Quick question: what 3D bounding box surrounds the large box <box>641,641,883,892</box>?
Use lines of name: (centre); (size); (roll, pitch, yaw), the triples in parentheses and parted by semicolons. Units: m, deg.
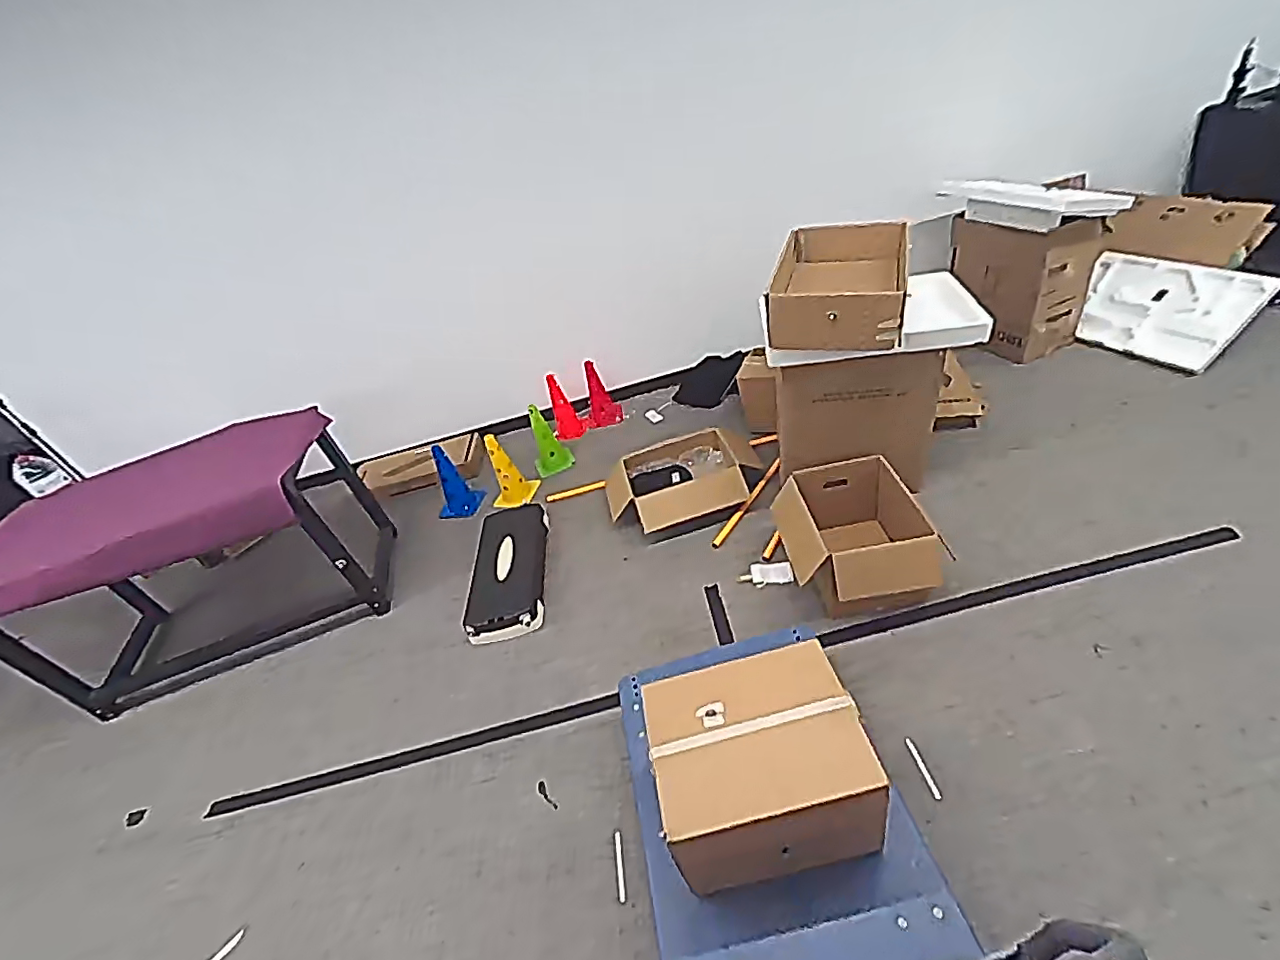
large box: (0.251, 0.610, 1.158); (0.408, 0.320, 0.320); (-17, 36, 2)
